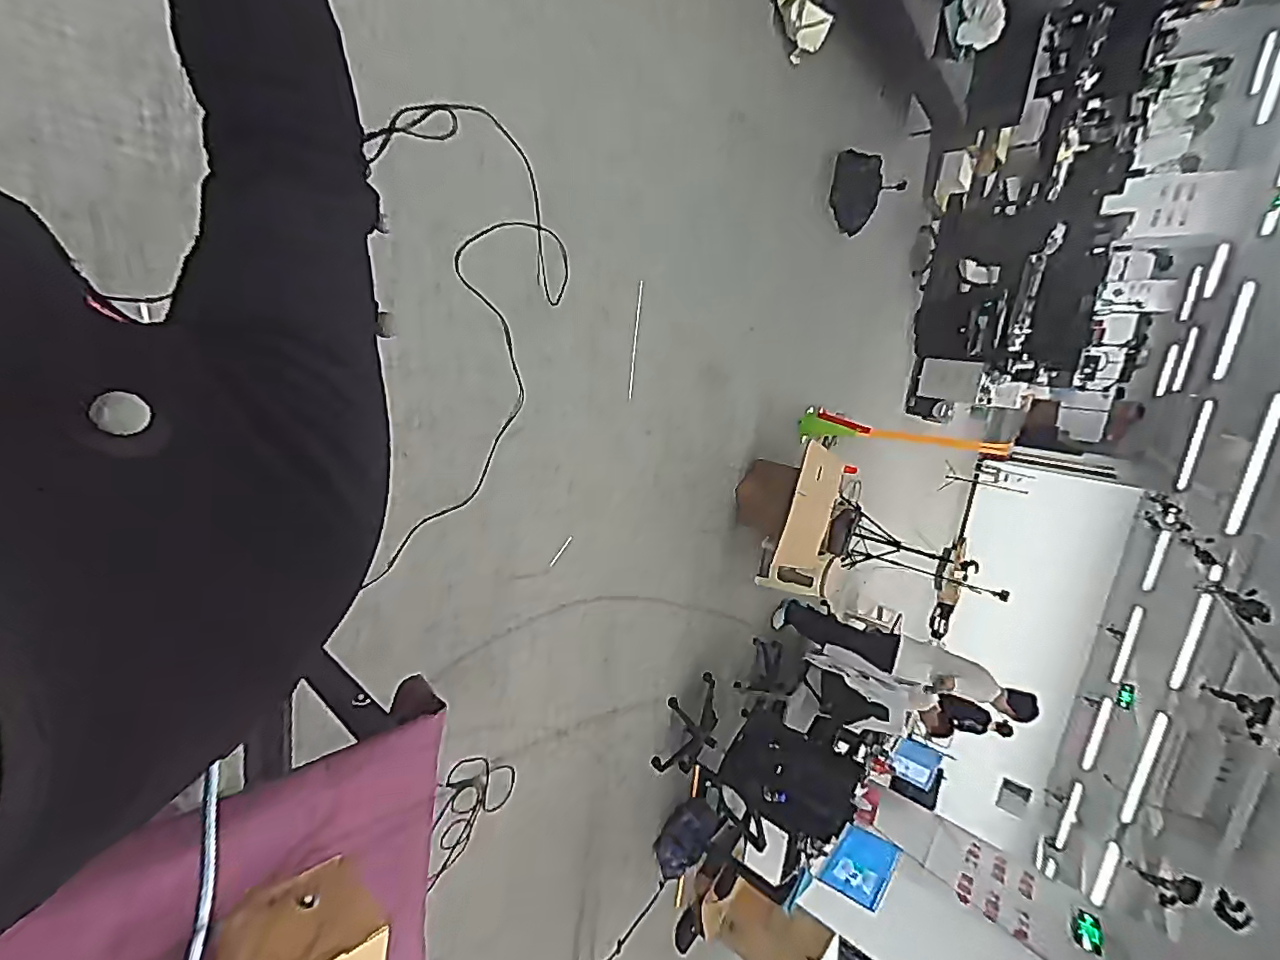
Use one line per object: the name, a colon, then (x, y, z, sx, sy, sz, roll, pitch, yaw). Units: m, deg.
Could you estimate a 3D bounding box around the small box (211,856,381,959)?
small box: (-0.507, 0.713, 0.791, 0.168, 0.176, 0.179, -1, 104, -51)
